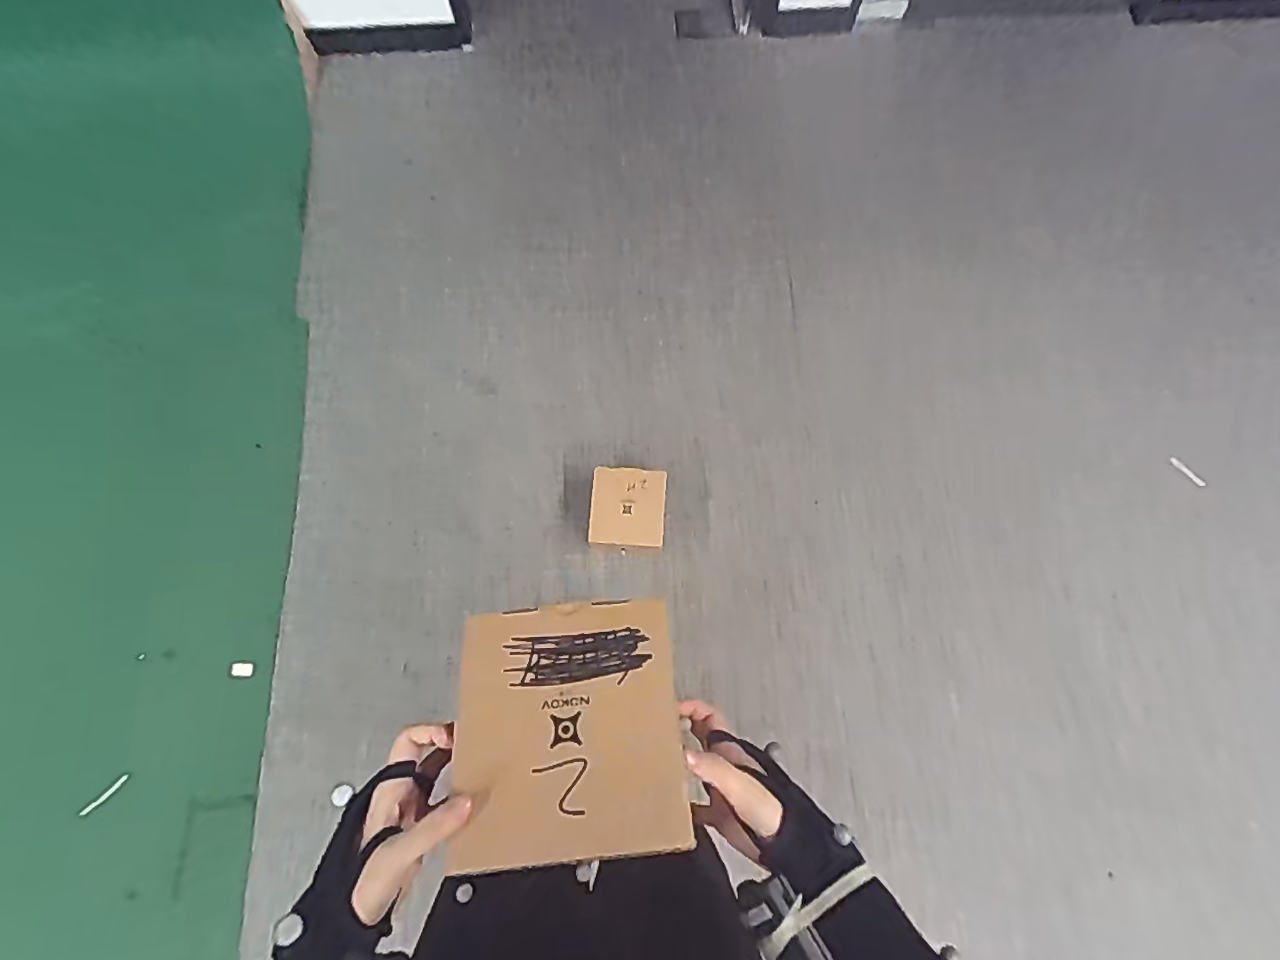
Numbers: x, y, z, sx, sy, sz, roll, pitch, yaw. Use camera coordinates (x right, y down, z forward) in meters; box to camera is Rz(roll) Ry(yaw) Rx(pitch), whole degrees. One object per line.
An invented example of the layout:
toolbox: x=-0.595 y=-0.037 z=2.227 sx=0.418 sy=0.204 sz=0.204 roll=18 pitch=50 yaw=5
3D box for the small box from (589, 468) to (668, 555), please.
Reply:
small box: x=-0.023 y=0.081 z=1.278 sx=0.168 sy=0.176 sz=0.179 roll=4 pitch=77 yaw=1
